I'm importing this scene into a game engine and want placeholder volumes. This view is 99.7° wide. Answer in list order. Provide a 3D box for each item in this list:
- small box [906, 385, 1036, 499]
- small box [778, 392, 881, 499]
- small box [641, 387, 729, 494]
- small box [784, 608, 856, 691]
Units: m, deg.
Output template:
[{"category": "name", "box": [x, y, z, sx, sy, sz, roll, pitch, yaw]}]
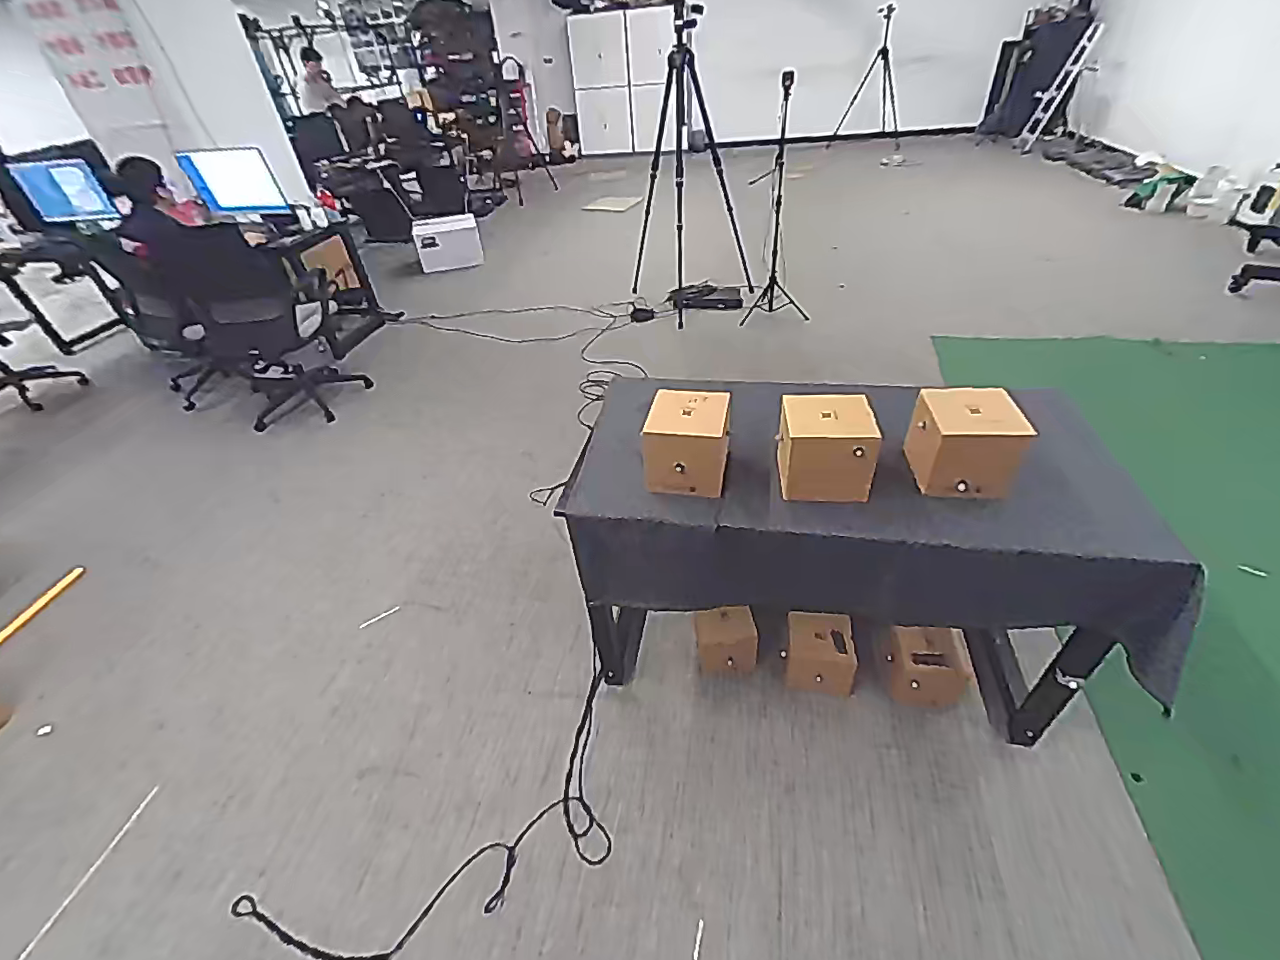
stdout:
[{"category": "small box", "box": [0.672, -0.081, 1.125, 0.168, 0.176, 0.179, 1, 40, 10]}, {"category": "small box", "box": [0.391, -0.073, 1.151, 0.179, 0.176, 0.168, 1, 40, 8]}, {"category": "small box", "box": [0.106, -0.087, 1.198, 0.168, 0.176, 0.179, 6, 41, 13]}, {"category": "small box", "box": [0.520, 0.498, 1.585, 0.179, 0.176, 0.168, 2, 40, 11]}]
